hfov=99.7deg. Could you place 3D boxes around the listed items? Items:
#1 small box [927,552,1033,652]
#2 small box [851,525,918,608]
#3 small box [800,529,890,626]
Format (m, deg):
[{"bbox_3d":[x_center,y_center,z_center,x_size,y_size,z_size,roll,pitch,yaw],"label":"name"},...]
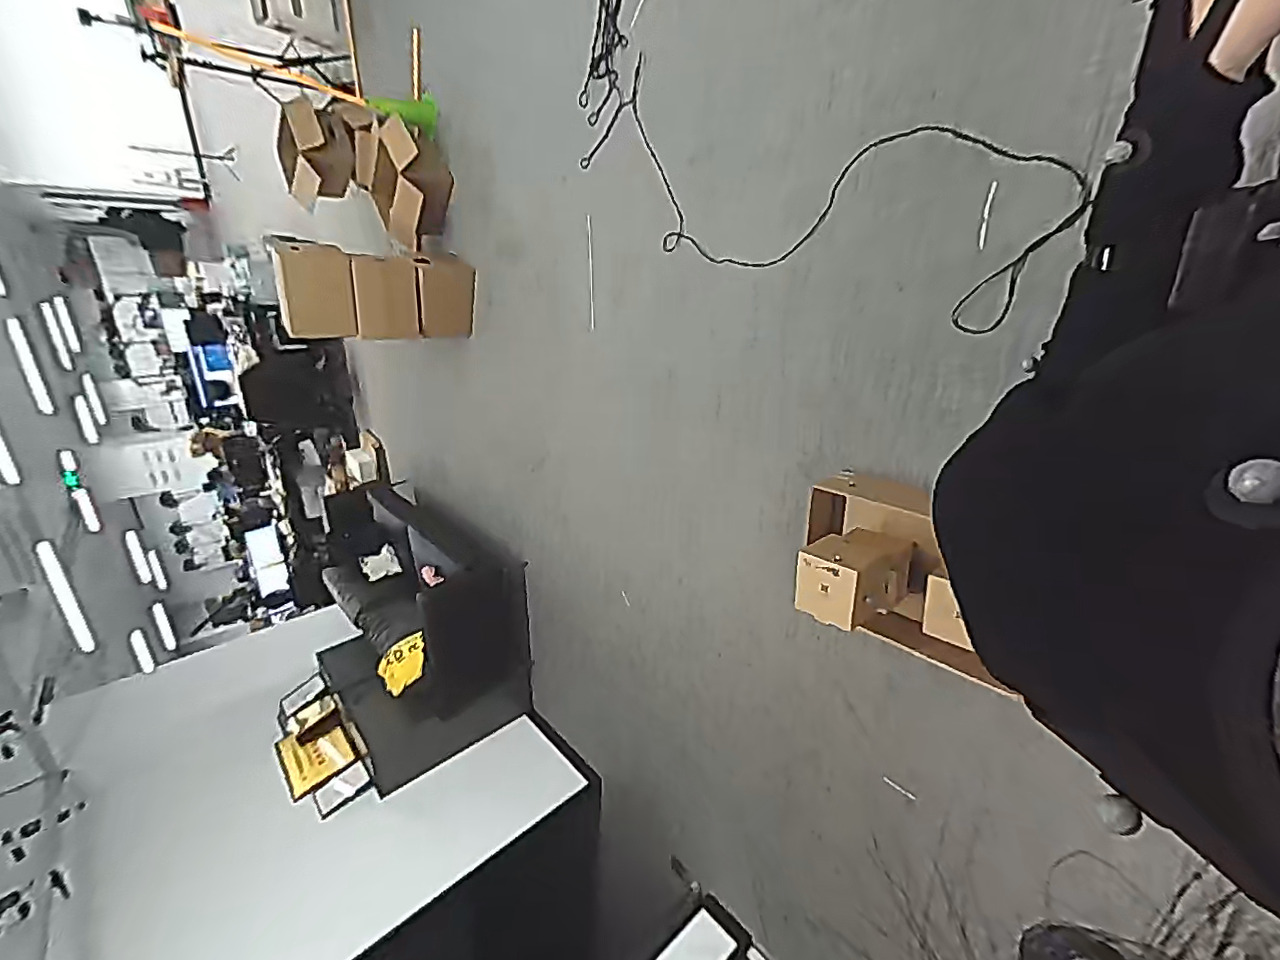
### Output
[{"bbox_3d":[0.855,0.296,1.358,0.179,0.176,0.168,17,115,48],"label":"small box"},{"bbox_3d":[0.676,0.238,1.553,0.179,0.176,0.168,13,112,47],"label":"small box"},{"bbox_3d":[0.549,0.252,1.448,0.168,0.176,0.179,18,117,45],"label":"small box"}]
